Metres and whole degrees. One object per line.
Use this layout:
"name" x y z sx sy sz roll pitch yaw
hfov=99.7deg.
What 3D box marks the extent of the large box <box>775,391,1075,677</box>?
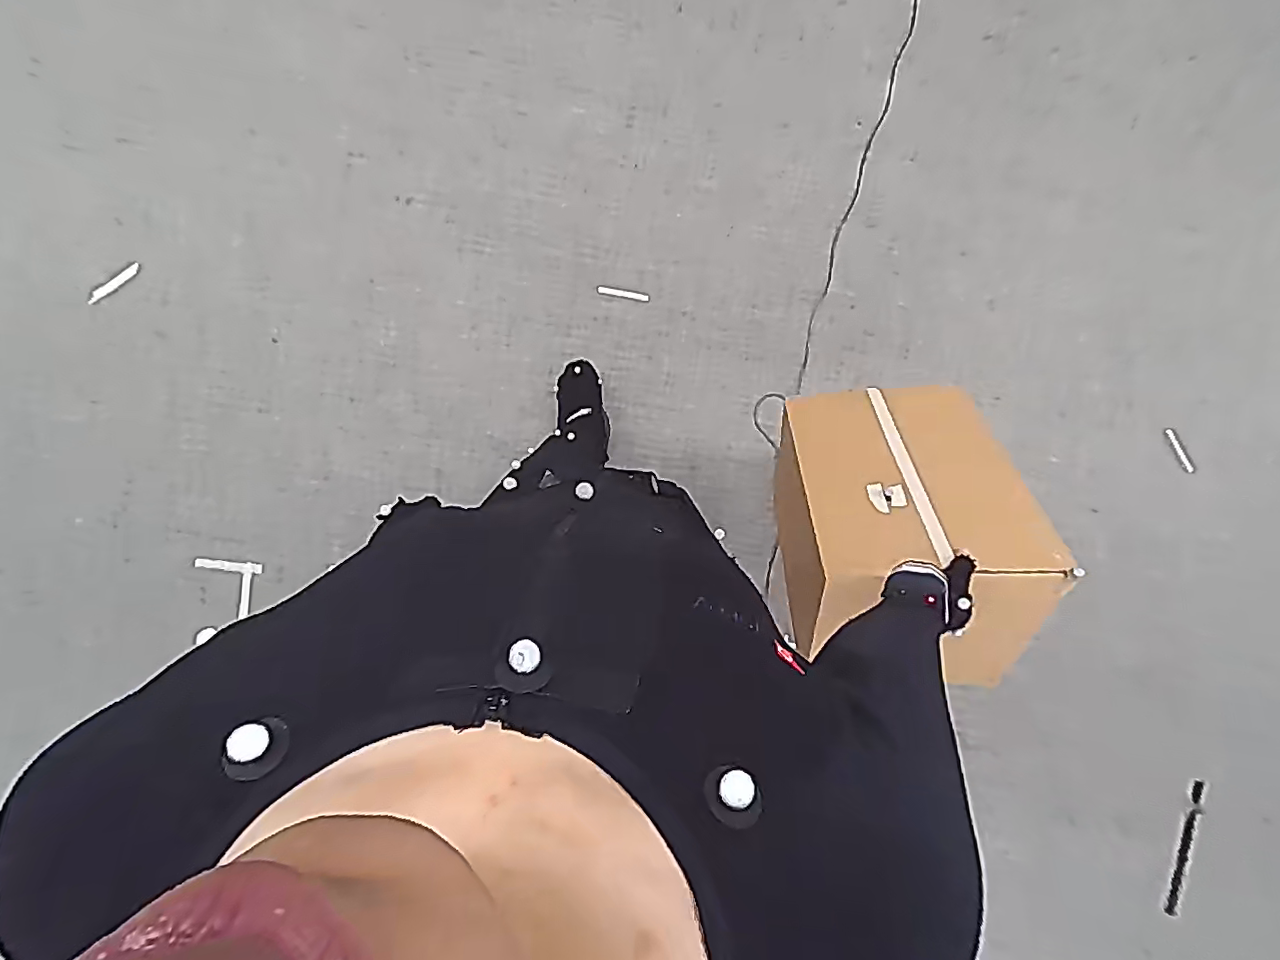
"large box" 0.430 0.089 0.952 0.320 0.408 0.320 -3 136 7
